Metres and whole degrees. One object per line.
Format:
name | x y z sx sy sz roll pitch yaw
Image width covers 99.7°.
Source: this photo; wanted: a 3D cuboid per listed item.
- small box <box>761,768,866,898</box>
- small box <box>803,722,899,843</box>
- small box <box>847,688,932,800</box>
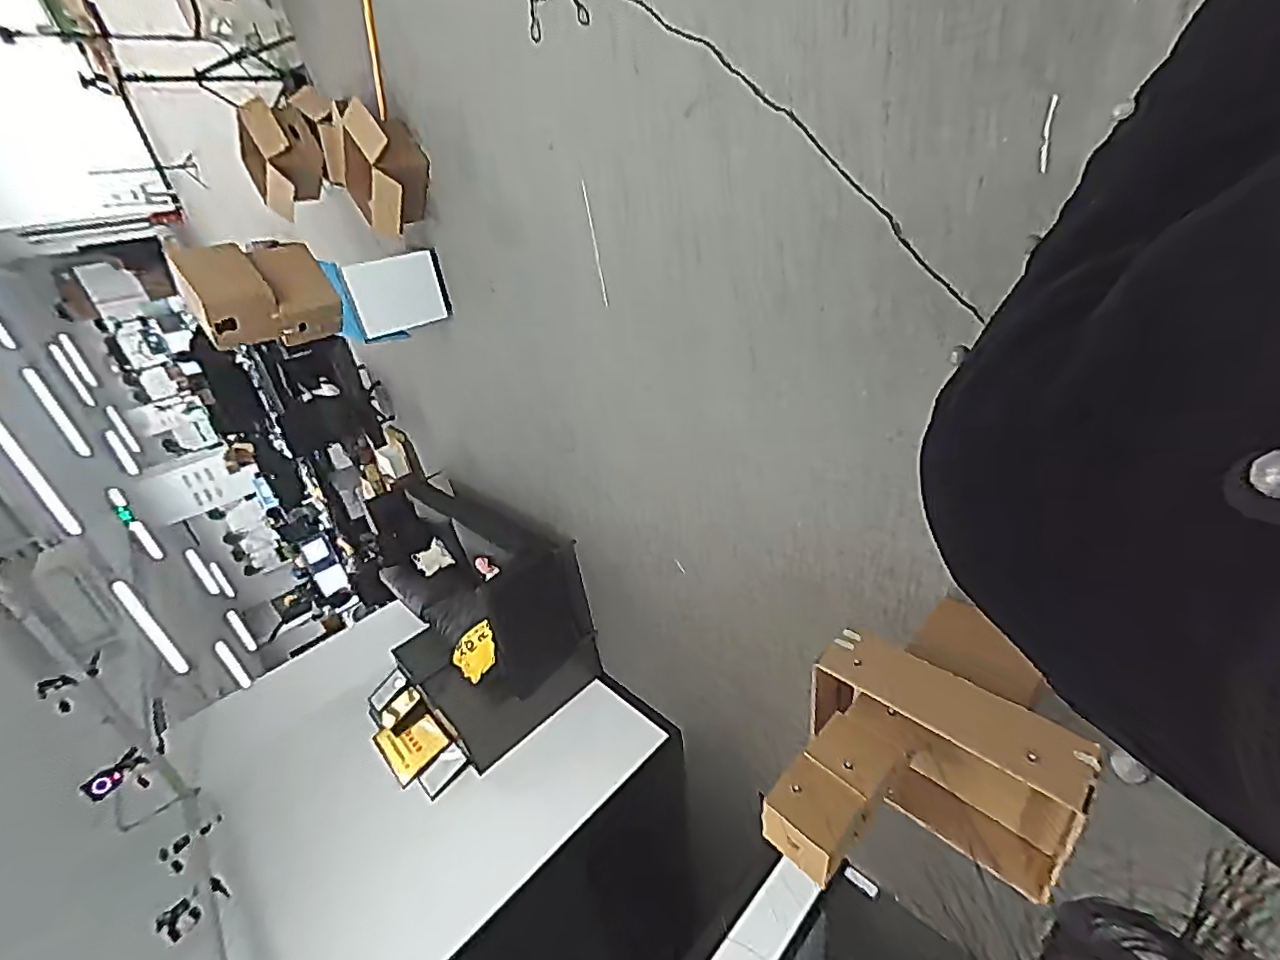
small box | 0.414 0.835 1.303 0.179 0.176 0.168 25 132 42
small box | 0.536 0.765 1.385 0.179 0.176 0.168 26 132 42
small box | 0.666 0.706 1.467 0.168 0.176 0.179 27 133 41
